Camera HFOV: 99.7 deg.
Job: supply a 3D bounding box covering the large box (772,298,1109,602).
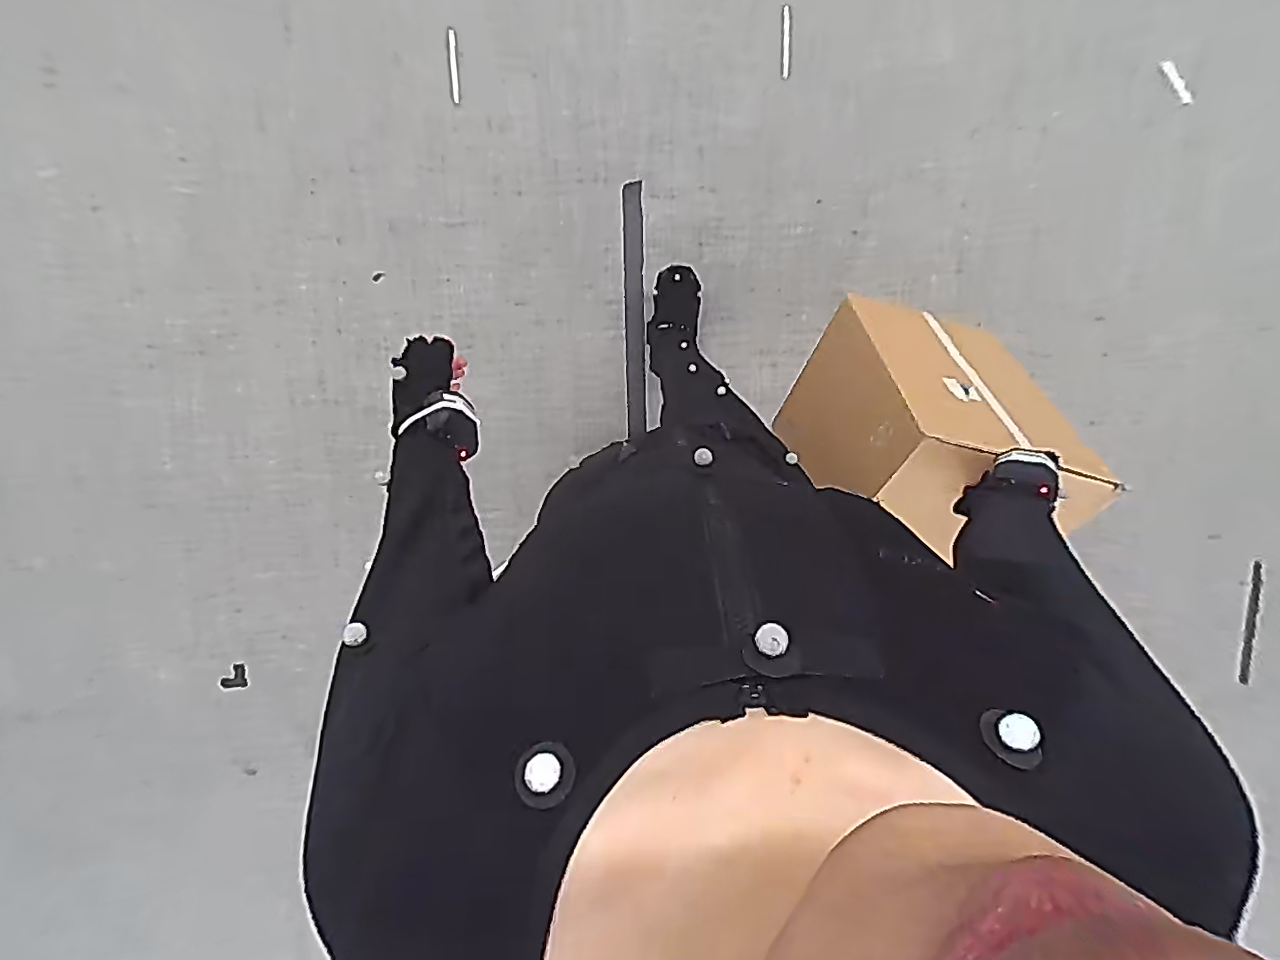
[{"bbox_3d":[0.466,-0.055,0.960,0.320,0.408,0.320,13,134,-10],"label":"large box"}]
